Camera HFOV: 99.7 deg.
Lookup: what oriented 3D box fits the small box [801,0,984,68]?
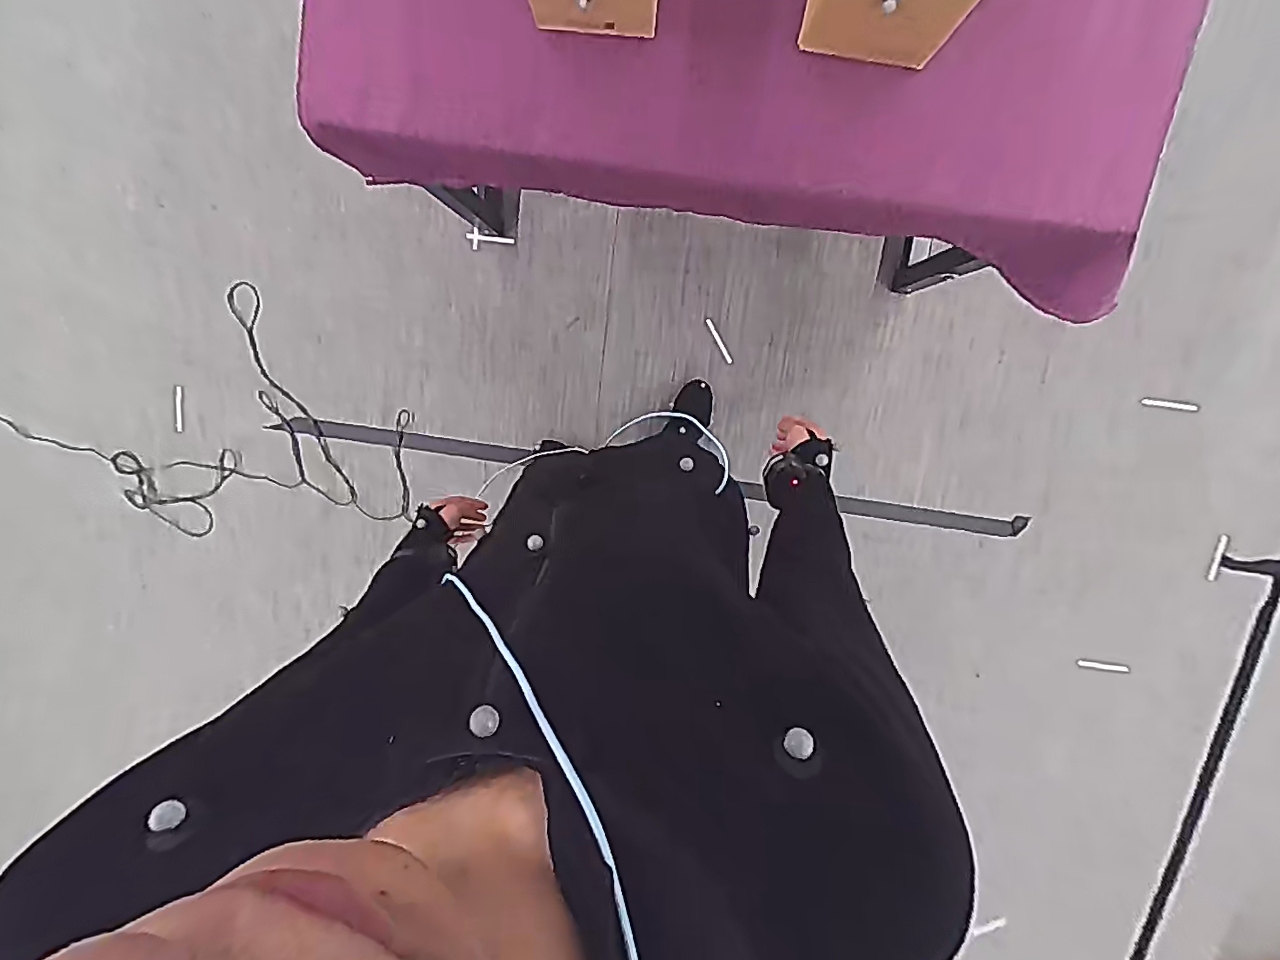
[{"bbox_3d":[0.315,-0.639,0.651,0.179,0.176,0.168,11,102,1],"label":"small box"}]

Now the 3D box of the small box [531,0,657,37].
[{"bbox_3d":[-0.057,-0.685,0.654,0.168,0.176,0.179,6,101,1],"label":"small box"}]
